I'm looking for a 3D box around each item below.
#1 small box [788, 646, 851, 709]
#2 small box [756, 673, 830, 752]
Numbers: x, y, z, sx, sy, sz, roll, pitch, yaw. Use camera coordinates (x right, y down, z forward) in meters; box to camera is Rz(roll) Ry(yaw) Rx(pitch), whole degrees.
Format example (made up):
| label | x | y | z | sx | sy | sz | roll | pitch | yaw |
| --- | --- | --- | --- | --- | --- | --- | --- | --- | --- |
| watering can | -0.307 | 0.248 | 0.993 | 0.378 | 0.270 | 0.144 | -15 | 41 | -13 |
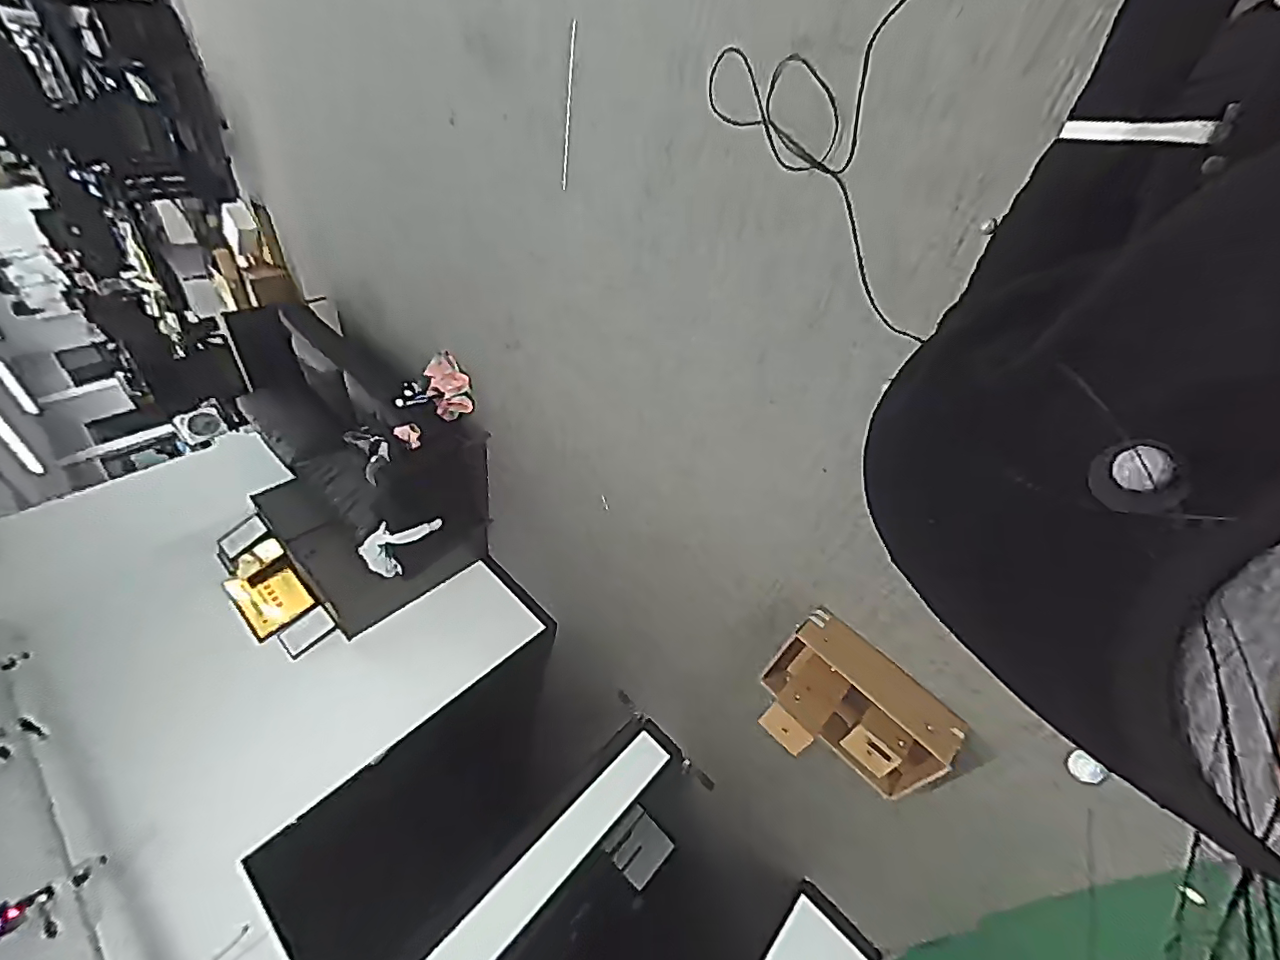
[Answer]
| label | x | y | z | sx | sy | sz | roll | pitch | yaw |
| --- | --- | --- | --- | --- | --- | --- | --- | --- | --- |
| small box | 0.667 | 0.769 | 2.044 | 0.168 | 0.176 | 0.179 | 39 | 138 | 21 |
| small box | 0.555 | 0.832 | 1.943 | 0.168 | 0.176 | 0.179 | 40 | 139 | 22 |
